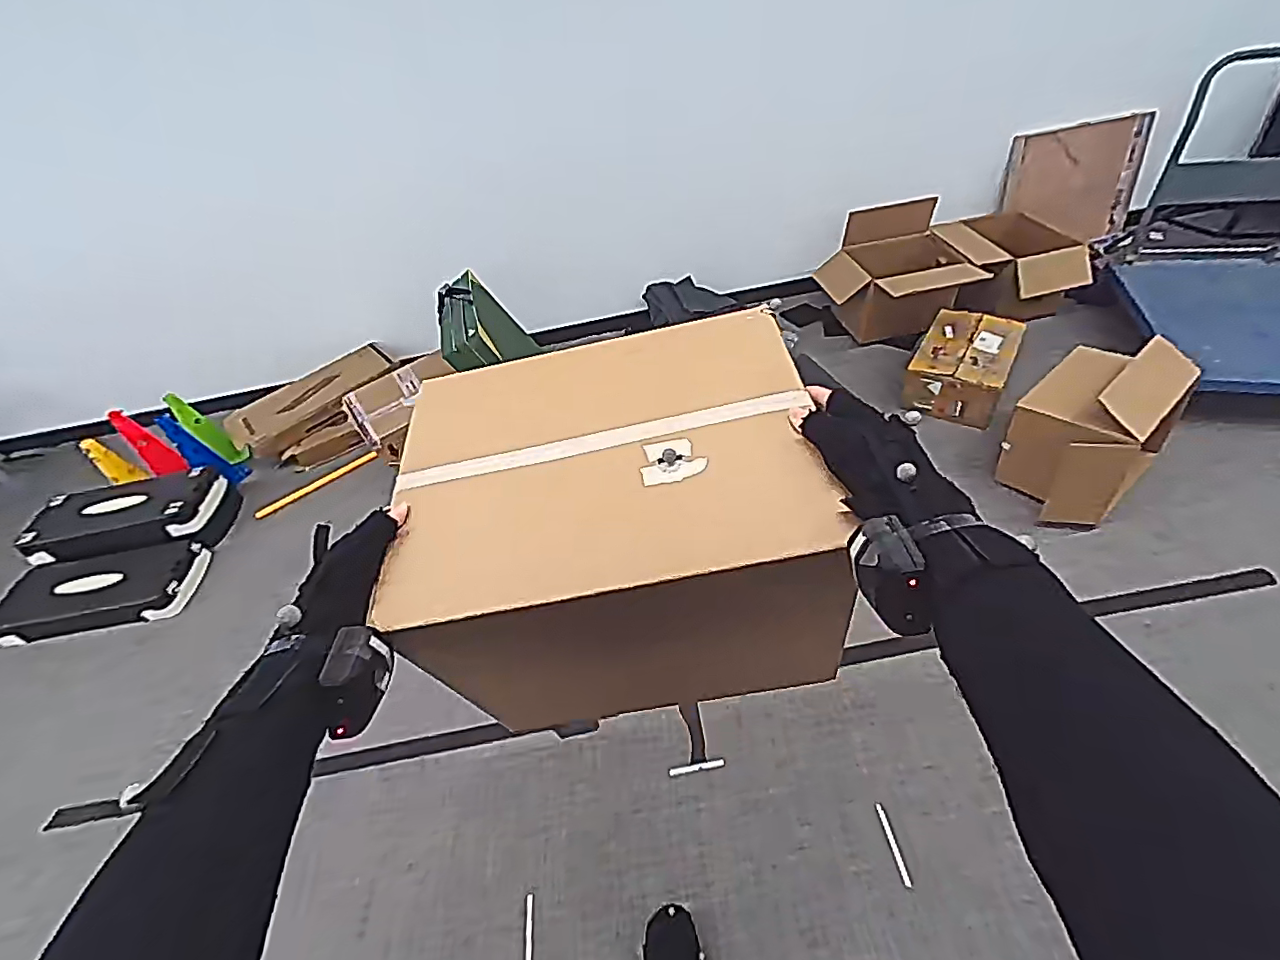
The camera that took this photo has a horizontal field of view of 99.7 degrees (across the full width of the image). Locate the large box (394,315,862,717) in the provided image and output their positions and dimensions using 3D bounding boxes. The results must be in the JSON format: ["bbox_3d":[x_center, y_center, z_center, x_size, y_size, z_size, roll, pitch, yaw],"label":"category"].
[{"bbox_3d":[-0.007,0.056,0.649,0.408,0.320,0.320,-11,51,4],"label":"large box"}]
